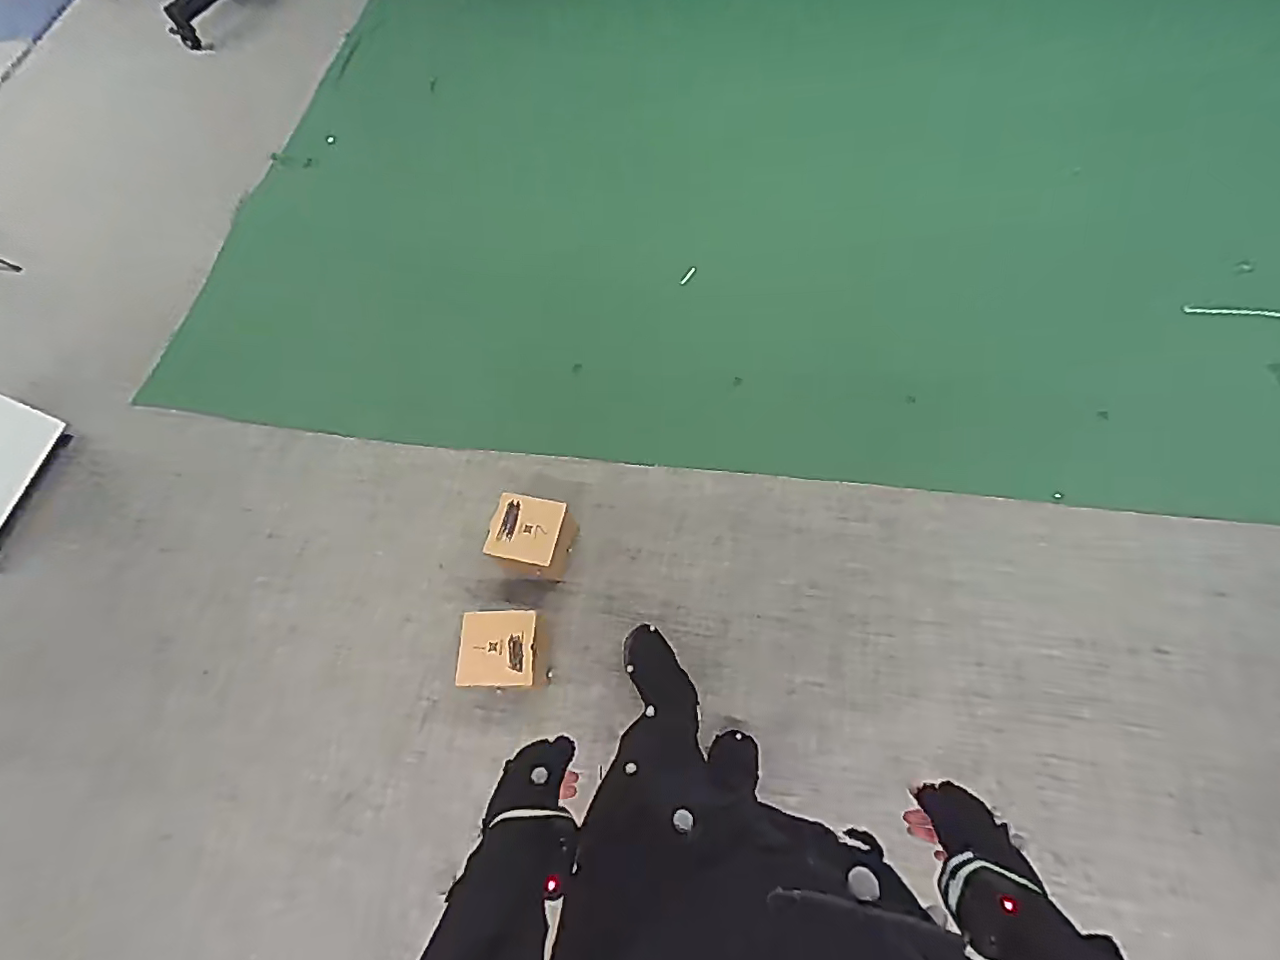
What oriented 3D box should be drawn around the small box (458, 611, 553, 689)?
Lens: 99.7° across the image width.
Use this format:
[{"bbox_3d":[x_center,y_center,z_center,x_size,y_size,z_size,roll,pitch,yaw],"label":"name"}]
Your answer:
[{"bbox_3d":[-0.313,0.410,1.299,0.179,0.176,0.168,-2,67,5],"label":"small box"}]
